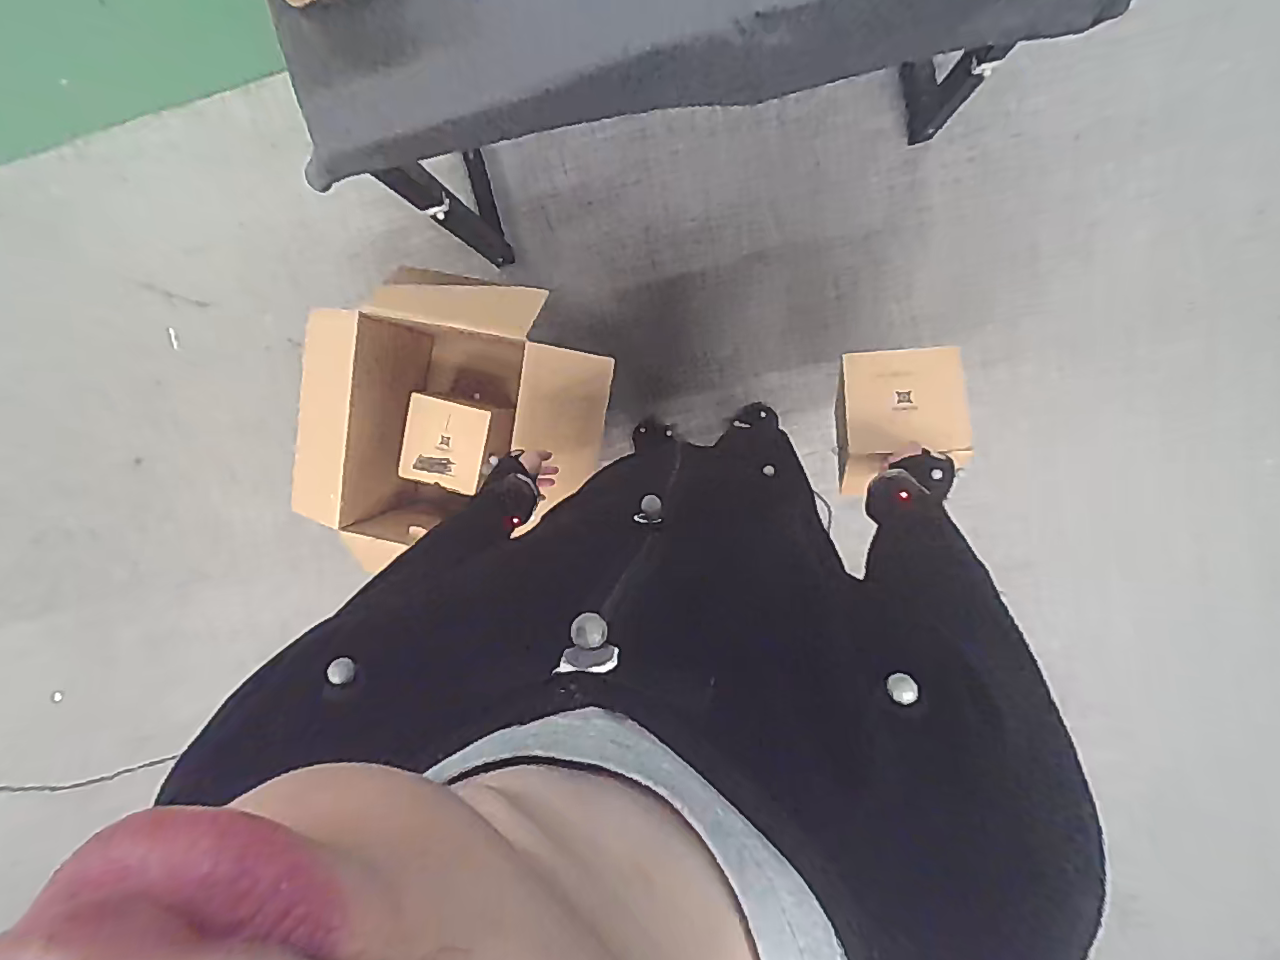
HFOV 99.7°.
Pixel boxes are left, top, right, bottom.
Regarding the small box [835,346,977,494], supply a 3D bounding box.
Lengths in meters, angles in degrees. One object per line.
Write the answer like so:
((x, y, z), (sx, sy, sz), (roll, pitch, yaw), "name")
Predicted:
((0.403, -0.085, 0.850), (0.168, 0.176, 0.179), (0, 66, 14), "small box")
